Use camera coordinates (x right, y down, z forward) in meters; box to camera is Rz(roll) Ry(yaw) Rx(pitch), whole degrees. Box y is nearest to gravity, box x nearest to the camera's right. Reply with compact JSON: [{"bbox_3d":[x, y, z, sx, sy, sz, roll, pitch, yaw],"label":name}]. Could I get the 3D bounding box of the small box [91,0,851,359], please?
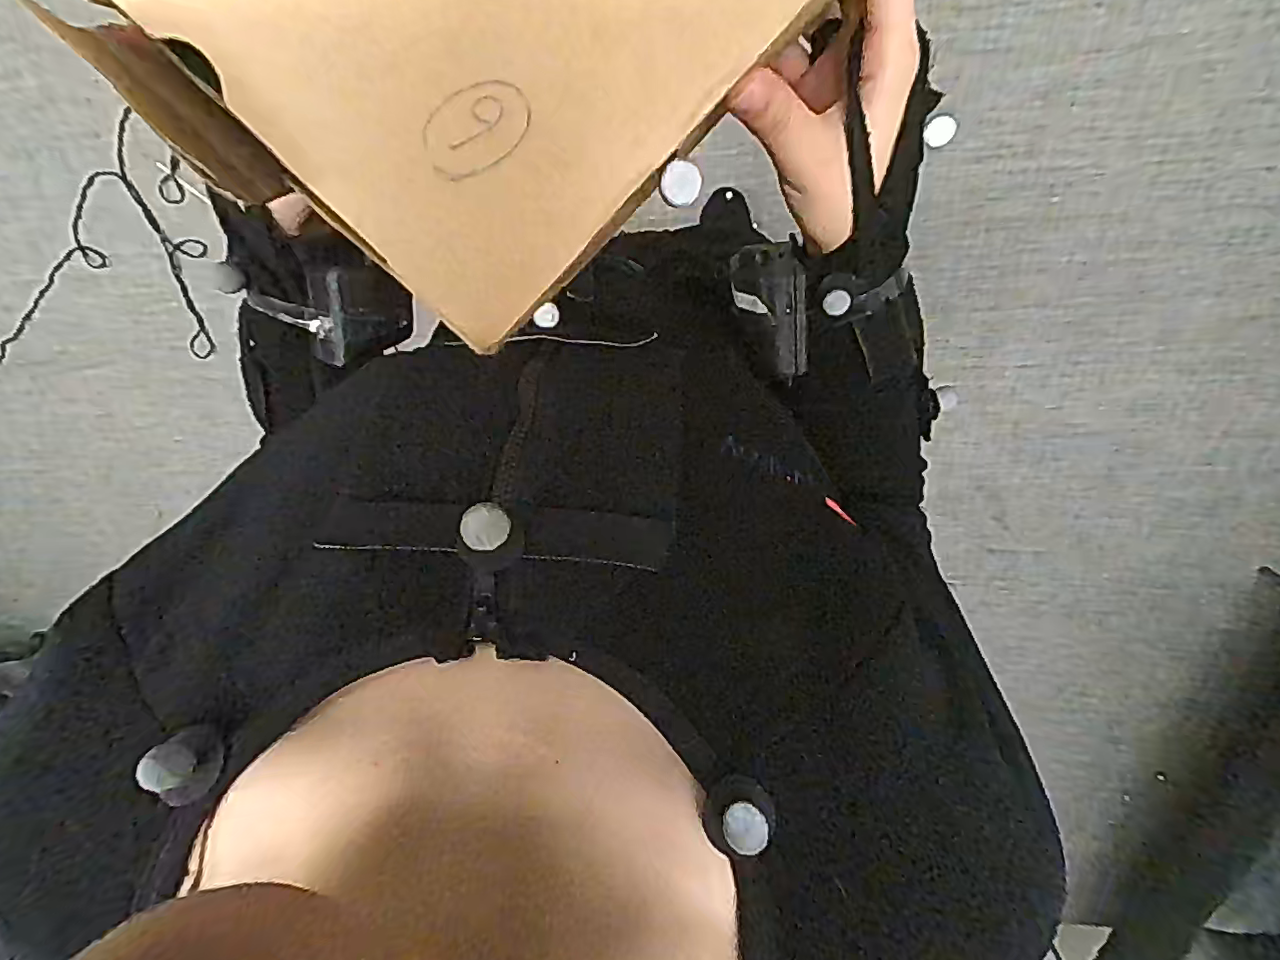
[{"bbox_3d":[-0.035,-0.173,0.178,0.179,0.176,0.168,-41,110,17],"label":"small box"}]
